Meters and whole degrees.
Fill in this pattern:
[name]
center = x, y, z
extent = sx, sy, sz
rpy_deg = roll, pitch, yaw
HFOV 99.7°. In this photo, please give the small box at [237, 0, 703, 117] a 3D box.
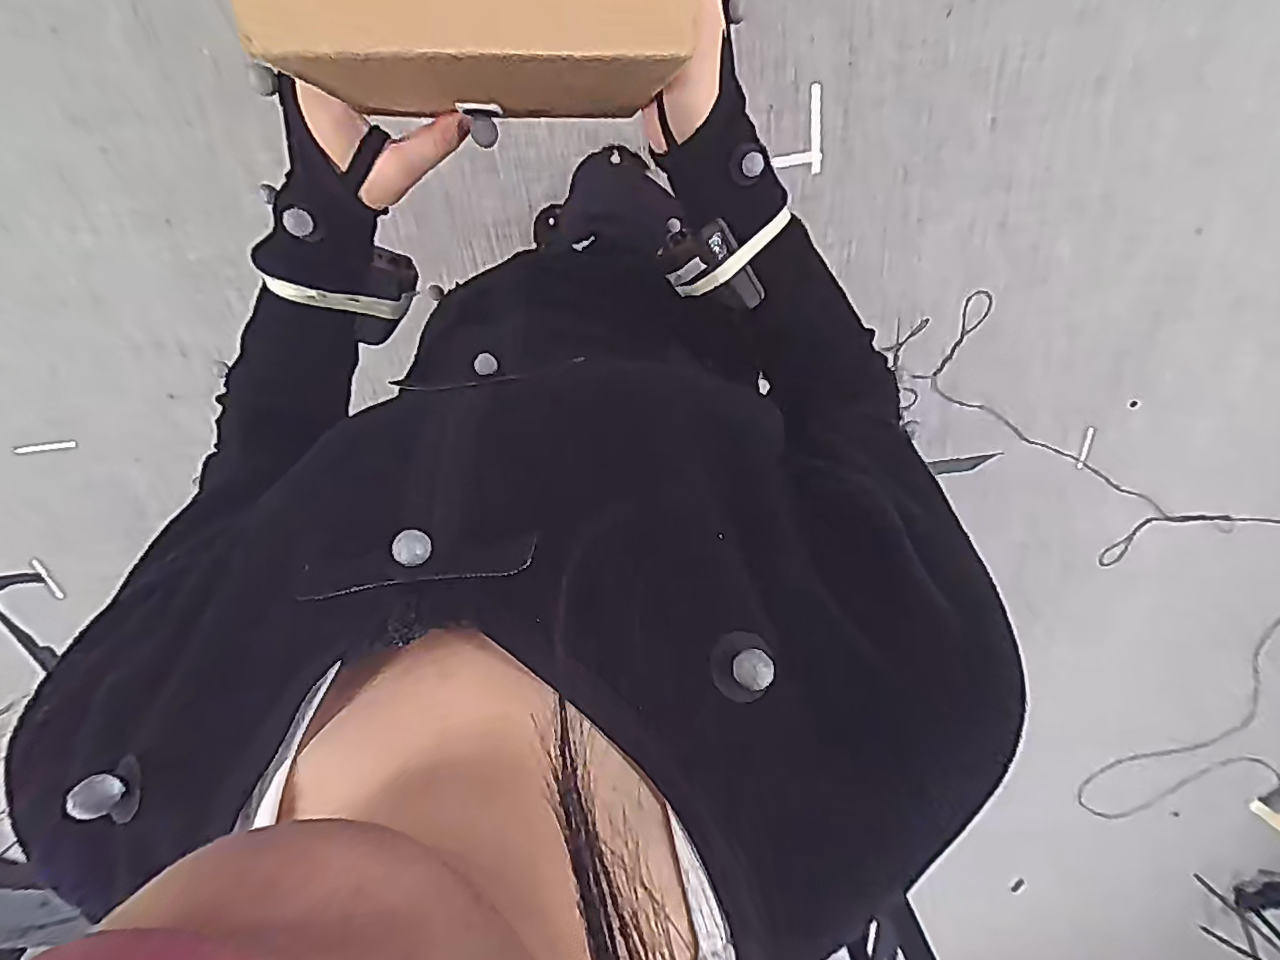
[small box]
center = -0.071, -0.273, 0.232
extent = 0.168, 0.176, 0.179
rpy_deg = -5, 118, -7
